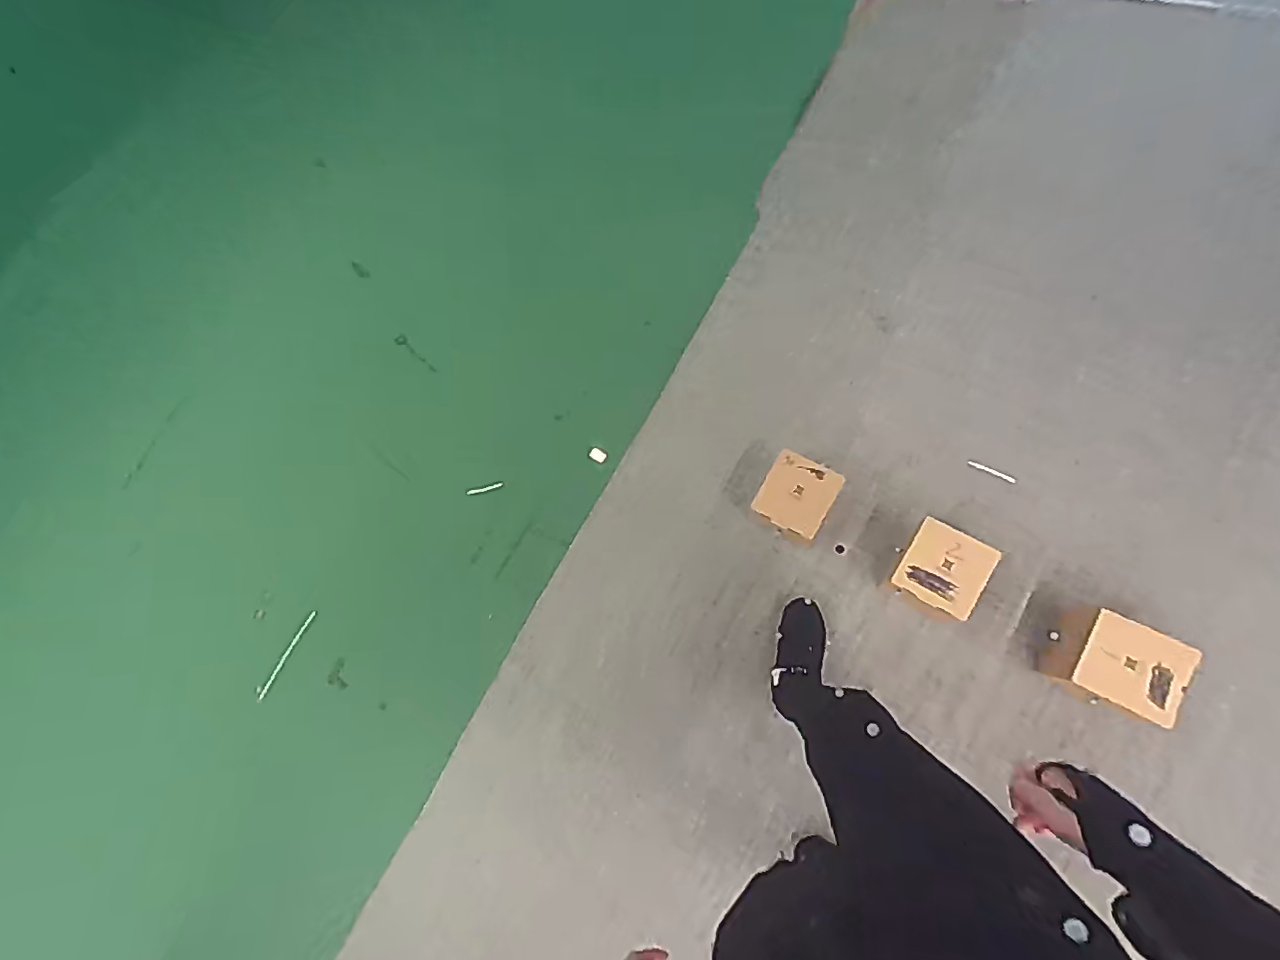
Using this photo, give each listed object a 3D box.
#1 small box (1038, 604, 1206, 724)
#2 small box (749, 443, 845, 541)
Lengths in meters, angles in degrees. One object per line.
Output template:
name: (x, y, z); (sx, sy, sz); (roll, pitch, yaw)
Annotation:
small box: (0.983, 0.370, 1.121); (0.179, 0.176, 0.168); (27, 84, 19)
small box: (0.392, 0.038, 1.357); (0.168, 0.176, 0.179); (30, 86, 19)
